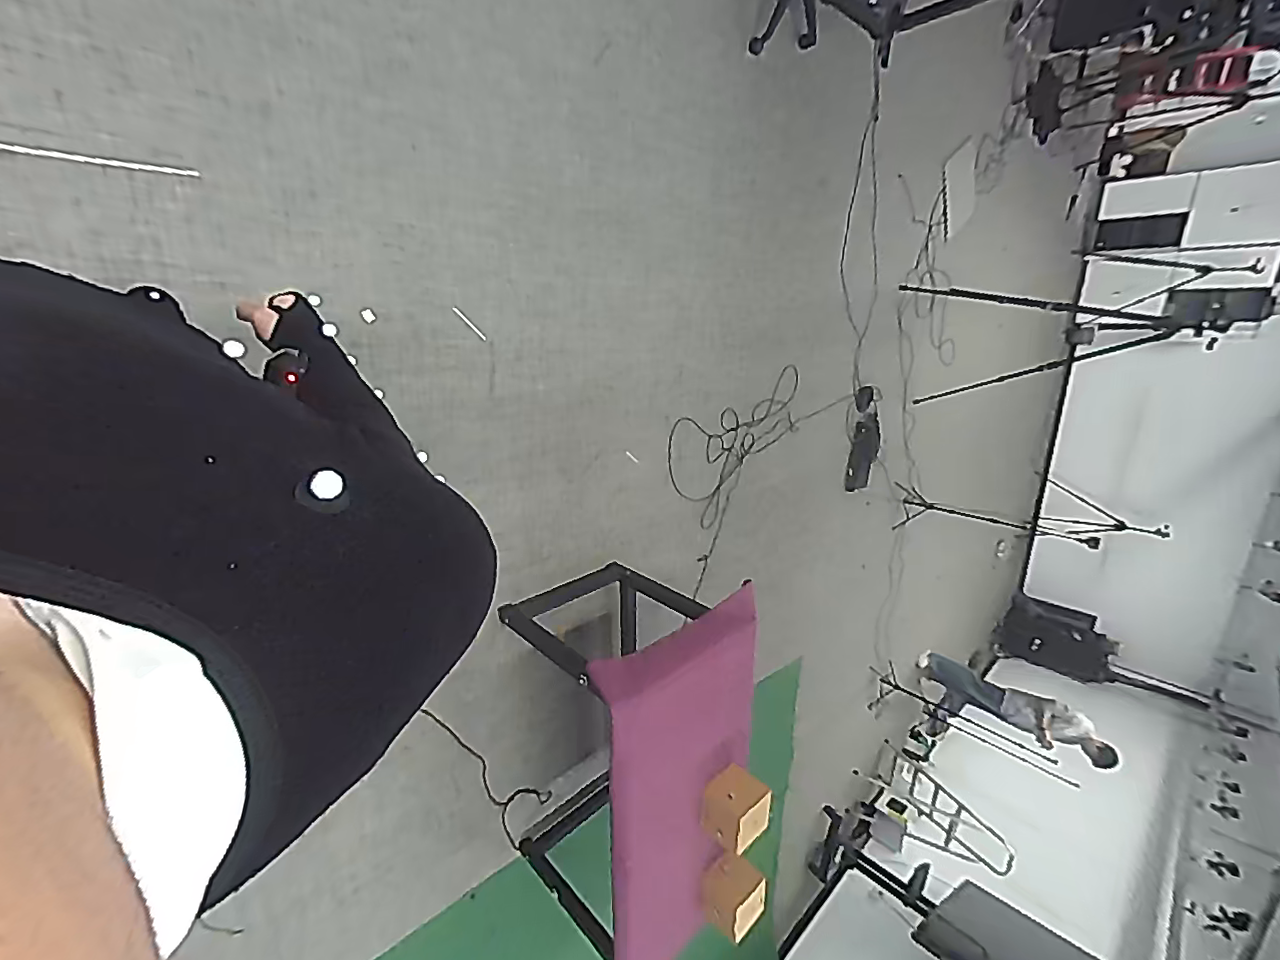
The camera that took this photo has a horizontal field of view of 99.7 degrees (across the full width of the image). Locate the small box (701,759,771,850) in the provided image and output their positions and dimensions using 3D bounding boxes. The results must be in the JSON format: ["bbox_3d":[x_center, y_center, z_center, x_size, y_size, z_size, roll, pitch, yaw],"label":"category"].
[{"bbox_3d":[0.330,1.116,1.872,0.179,0.176,0.168,-12,111,-41],"label":"small box"}]

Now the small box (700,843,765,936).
[{"bbox_3d":[0.339,1.504,1.997,0.179,0.176,0.168,-14,112,-40],"label":"small box"}]
